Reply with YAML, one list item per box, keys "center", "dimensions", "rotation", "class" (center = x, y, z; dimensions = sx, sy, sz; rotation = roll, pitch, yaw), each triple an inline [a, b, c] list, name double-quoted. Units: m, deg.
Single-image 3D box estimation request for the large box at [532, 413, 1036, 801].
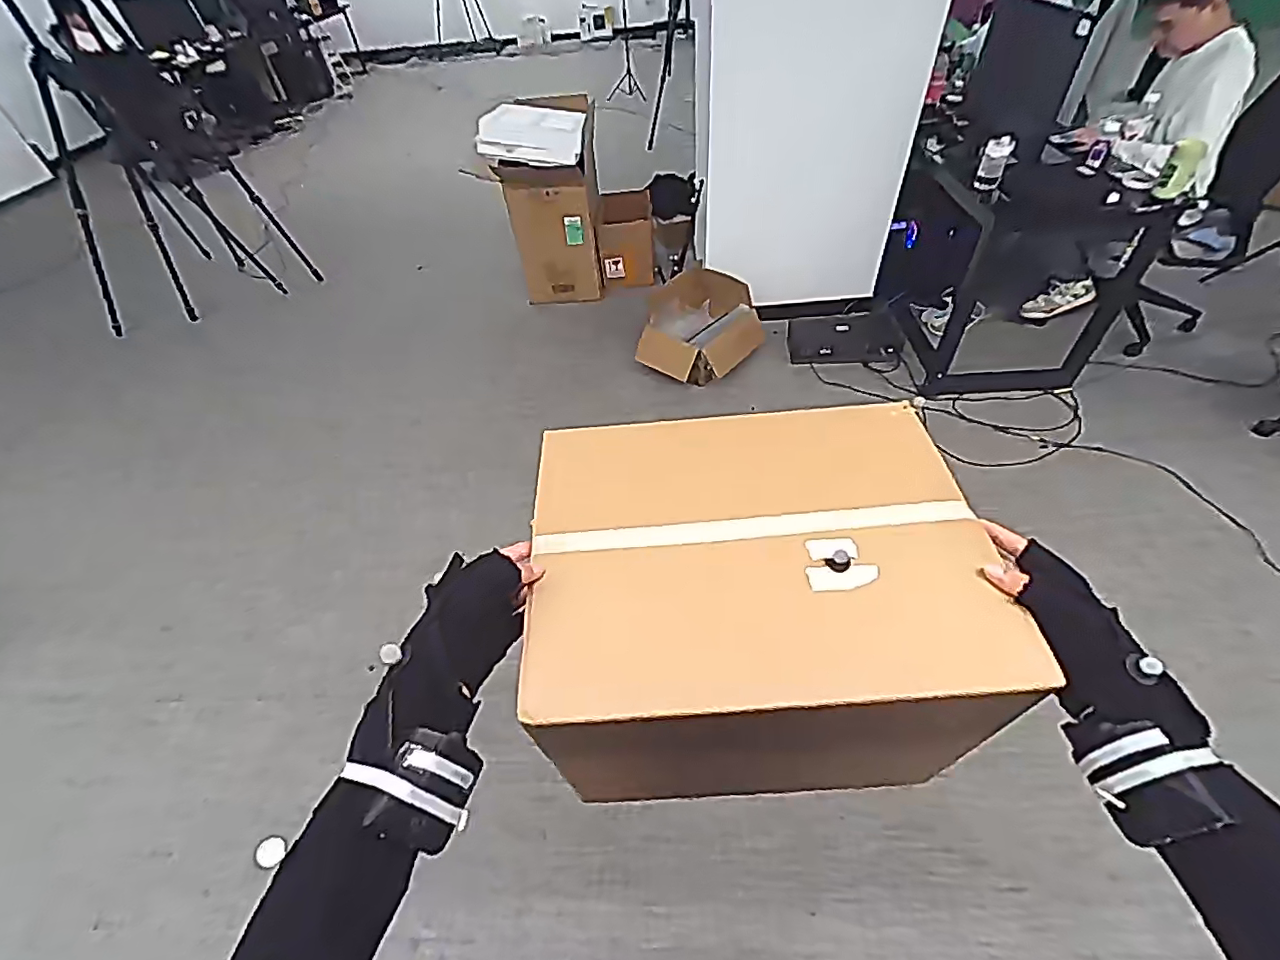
- center: [0.111, 0.152, 0.626]
  dimensions: [0.408, 0.320, 0.320]
  rotation: [-4, 49, 1]
  class: "large box"
